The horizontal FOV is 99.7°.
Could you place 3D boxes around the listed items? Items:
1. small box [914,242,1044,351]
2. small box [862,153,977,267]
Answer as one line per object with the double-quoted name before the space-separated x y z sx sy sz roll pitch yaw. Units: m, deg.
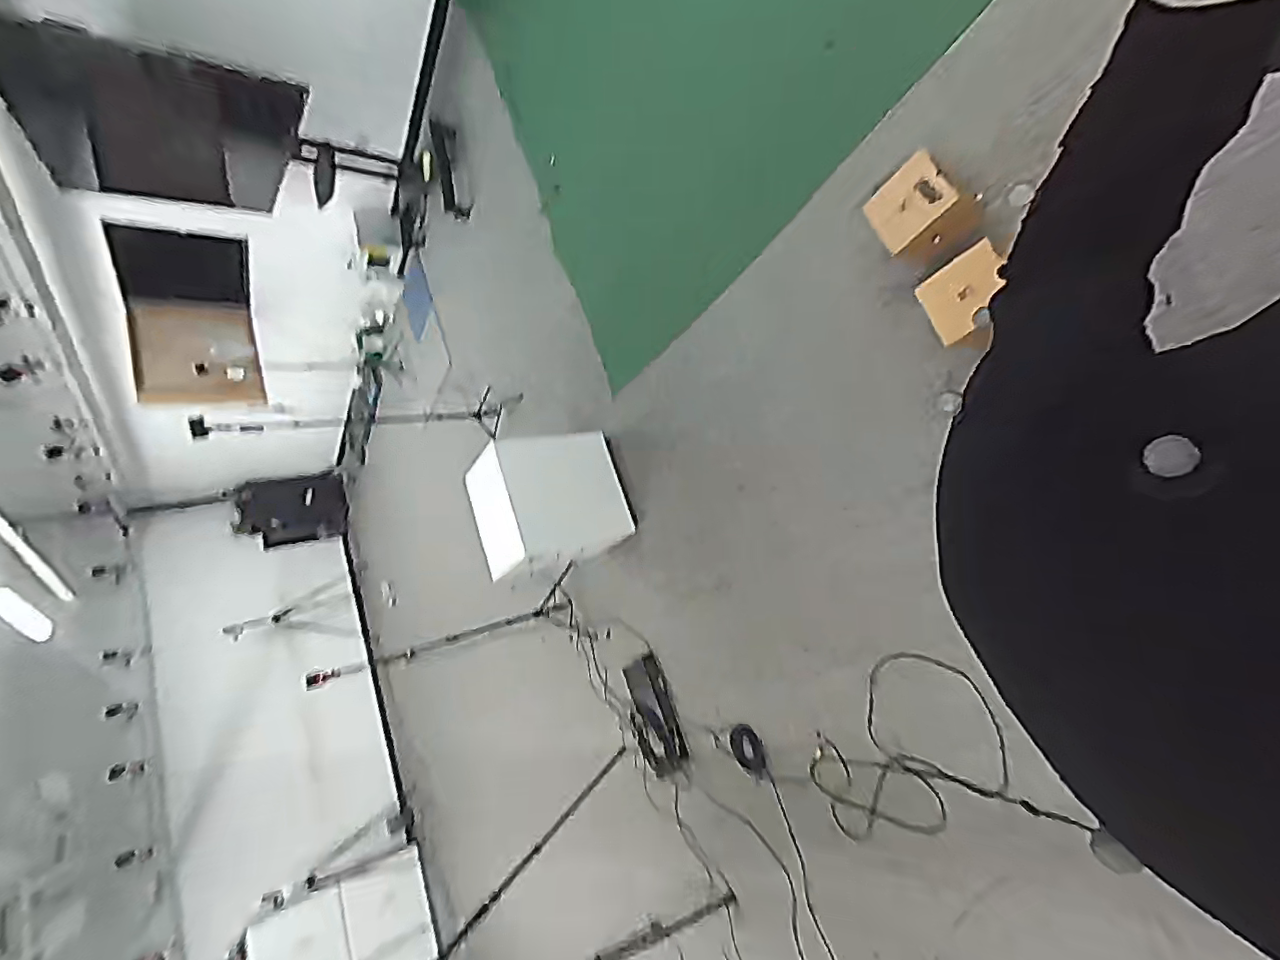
"small box" 0.791 -0.418 1.263 0.179 0.176 0.168 -38 66 47
"small box" 0.698 -0.658 1.339 0.179 0.176 0.168 -42 63 47
